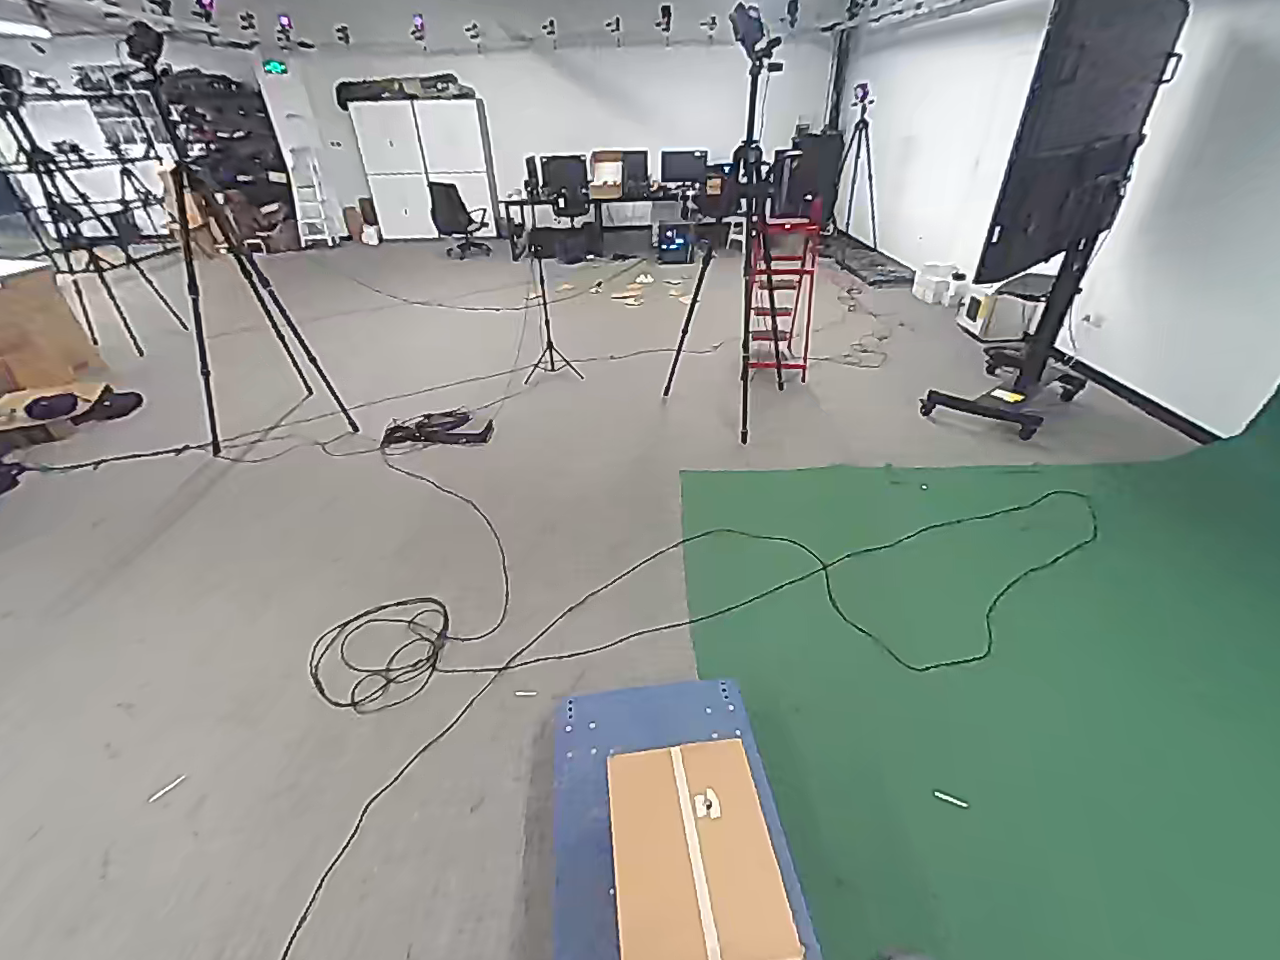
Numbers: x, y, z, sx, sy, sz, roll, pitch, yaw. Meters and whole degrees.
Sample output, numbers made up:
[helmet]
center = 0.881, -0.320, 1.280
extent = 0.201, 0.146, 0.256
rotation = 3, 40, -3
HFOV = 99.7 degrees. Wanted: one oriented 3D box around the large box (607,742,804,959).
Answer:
[large box]
center = 0.111, 0.850, 1.146
extent = 0.320, 0.320, 0.408
rotation = -5, 33, -6
